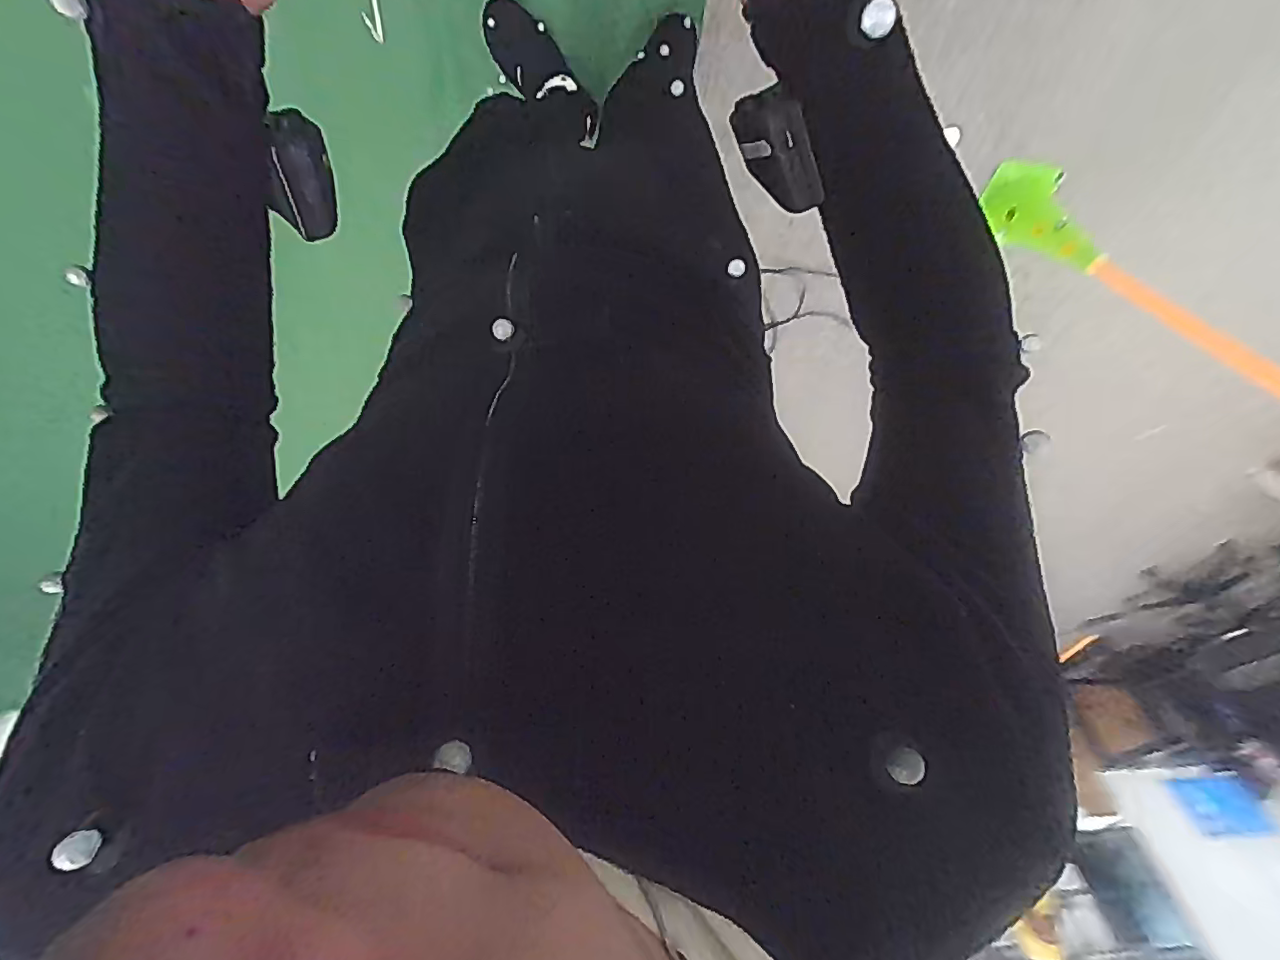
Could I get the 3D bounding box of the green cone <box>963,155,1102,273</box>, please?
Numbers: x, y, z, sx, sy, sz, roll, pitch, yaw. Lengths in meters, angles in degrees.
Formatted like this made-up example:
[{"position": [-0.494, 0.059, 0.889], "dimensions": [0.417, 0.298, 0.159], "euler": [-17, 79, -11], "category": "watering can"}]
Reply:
[{"position": [1.026, -0.635, 1.357], "dimensions": [0.200, 0.368, 0.202], "euler": [2, 139, -10], "category": "green cone"}]
